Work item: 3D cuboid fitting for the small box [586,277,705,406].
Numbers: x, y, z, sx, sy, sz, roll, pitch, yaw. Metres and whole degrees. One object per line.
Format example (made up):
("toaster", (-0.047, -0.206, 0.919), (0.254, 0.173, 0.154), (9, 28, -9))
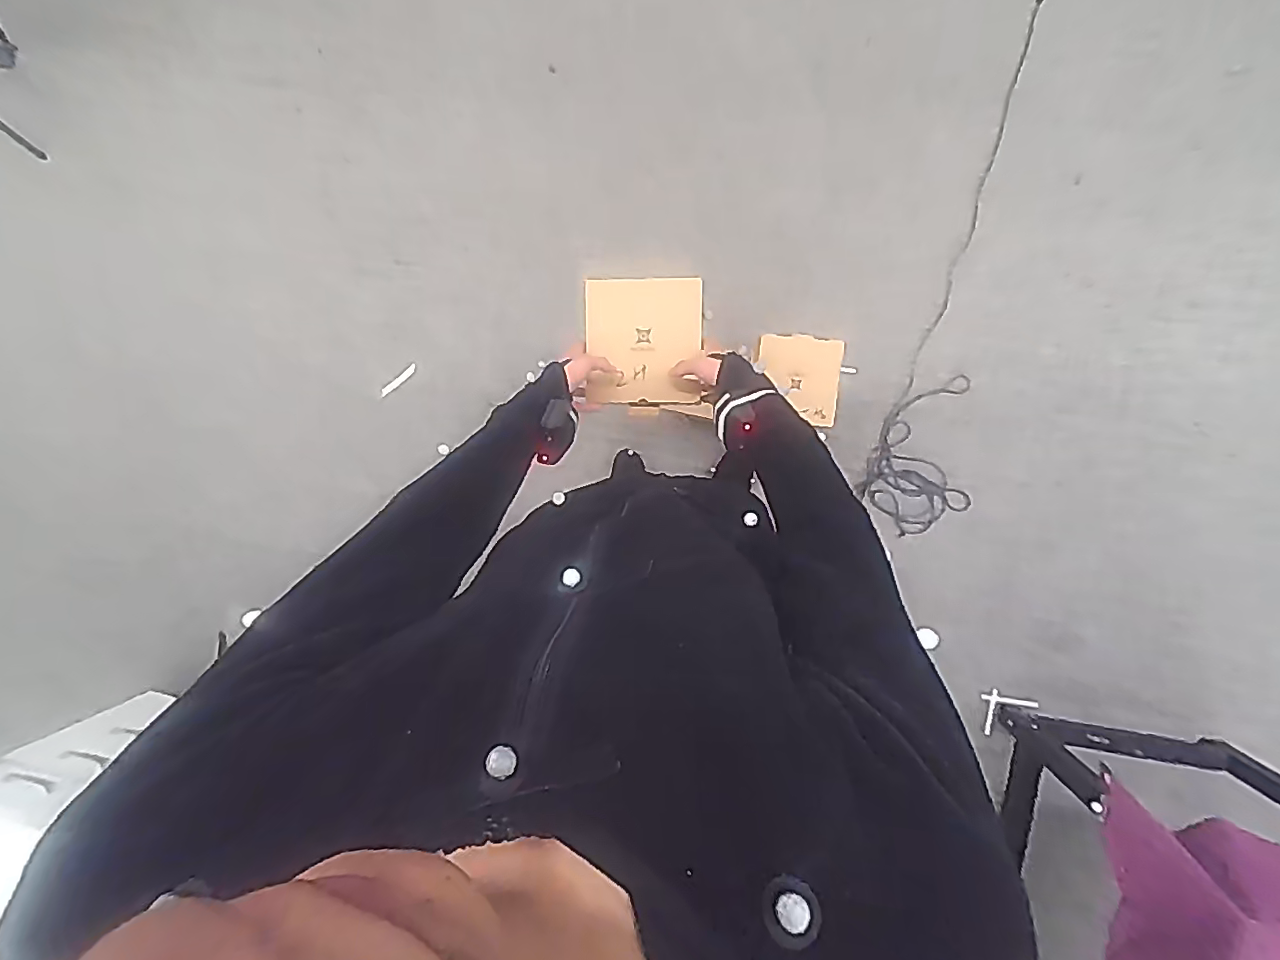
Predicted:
("small box", (0.014, -0.204, 0.834), (0.168, 0.176, 0.179), (2, 99, 7))

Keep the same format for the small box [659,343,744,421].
("small box", (0.154, -0.245, 1.343), (0.179, 0.176, 0.168), (13, 96, 9))

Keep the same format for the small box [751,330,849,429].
("small box", (0.331, -0.207, 1.153), (0.168, 0.176, 0.179), (8, 94, 9))
